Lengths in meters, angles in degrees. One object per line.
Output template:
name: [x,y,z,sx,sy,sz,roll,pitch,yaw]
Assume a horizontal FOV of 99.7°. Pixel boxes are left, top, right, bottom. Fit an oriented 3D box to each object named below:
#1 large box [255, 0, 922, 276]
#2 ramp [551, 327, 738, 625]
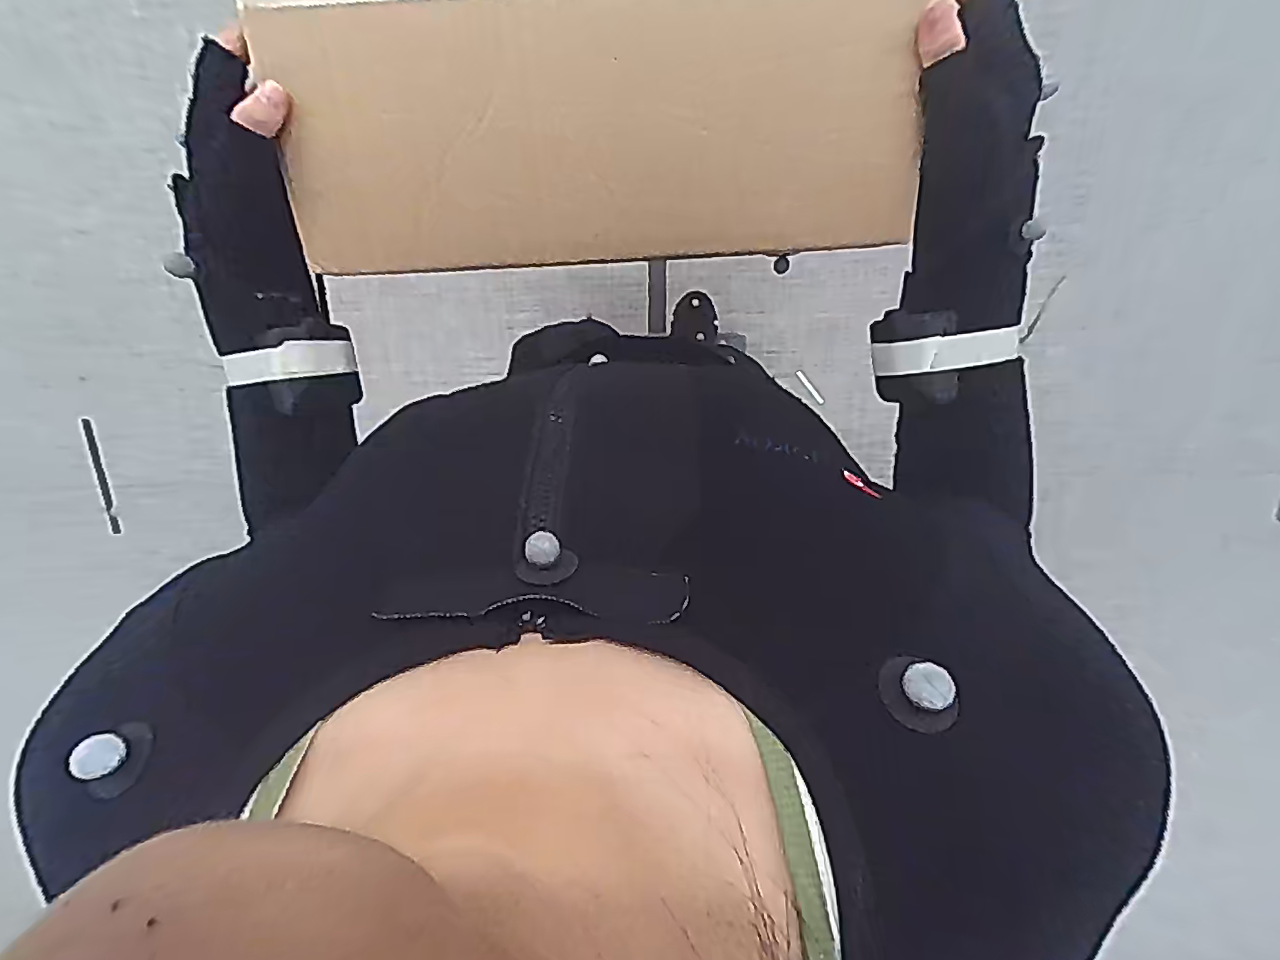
large box: [-0.029,-0.355,0.451,0.408,0.320,0.320,-2,113,2]
ramp: [0.026,0.052,1.622,0.509,0.206,0.991,-2,107,2]
